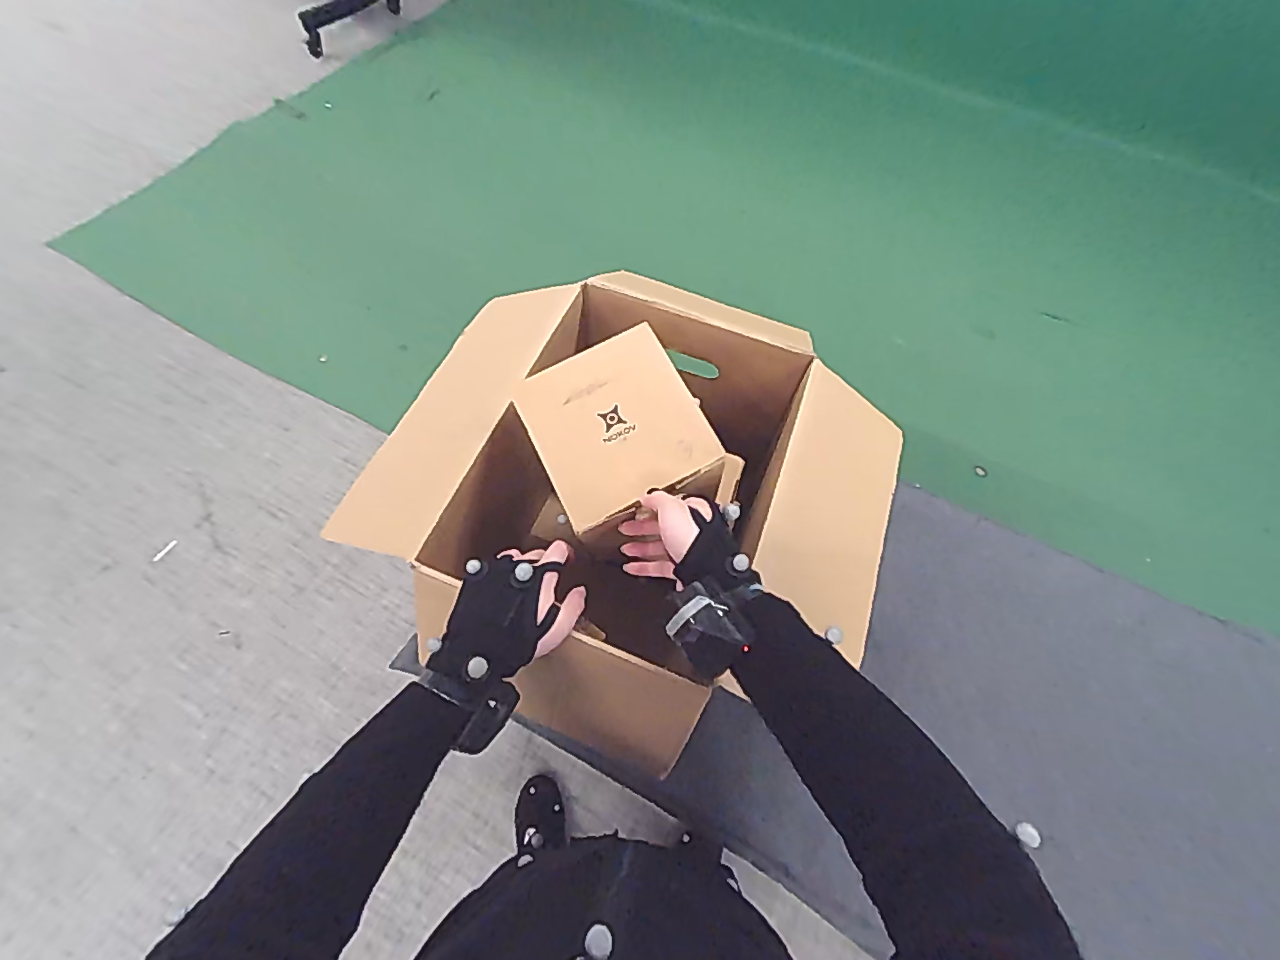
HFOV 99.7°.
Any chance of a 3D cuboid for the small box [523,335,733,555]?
[{"bbox_3d":[-0.010,-0.026,0.626,0.168,0.176,0.179,-26,71,-6],"label":"small box"}]
